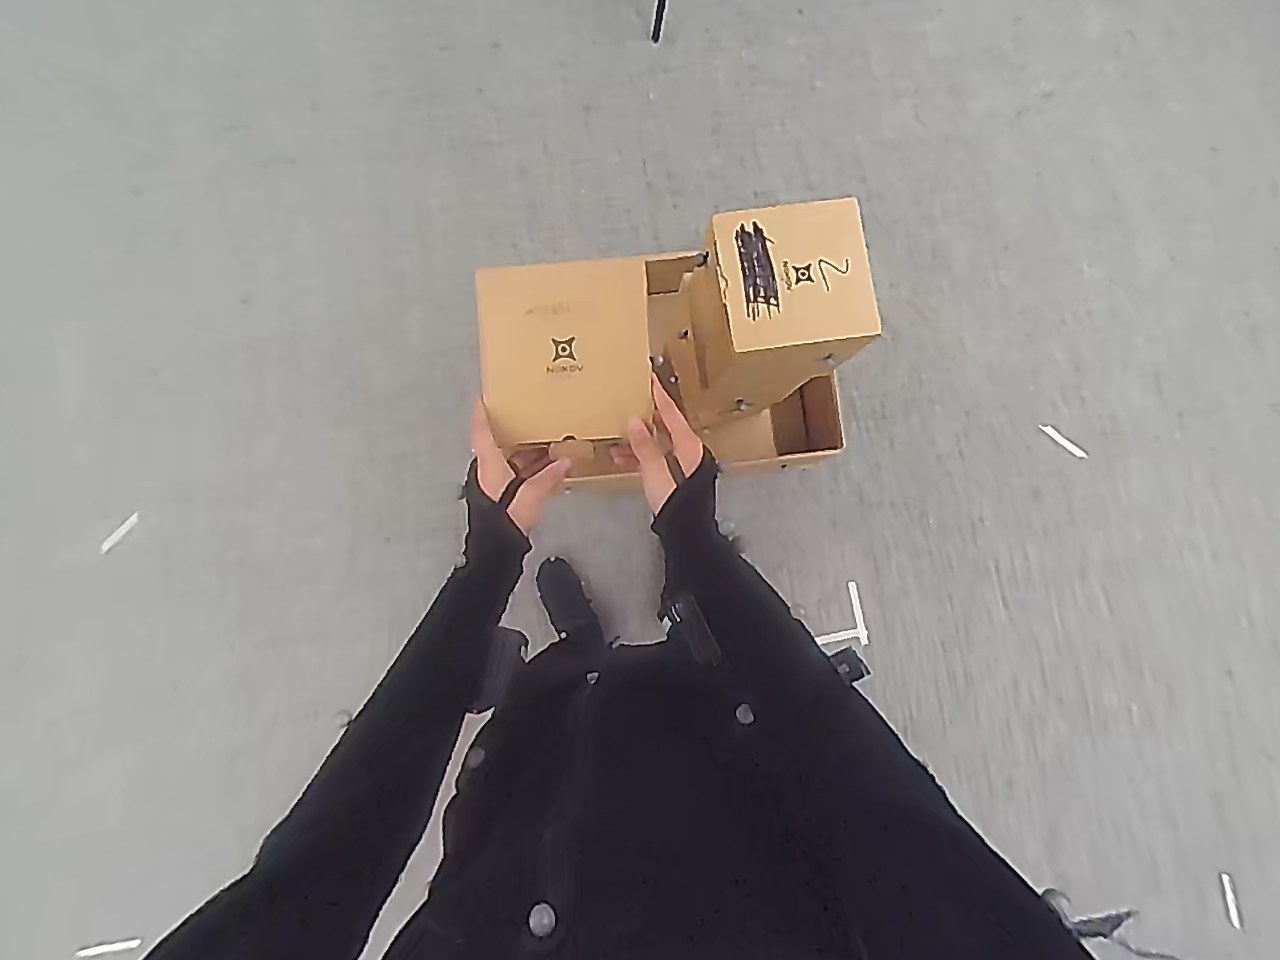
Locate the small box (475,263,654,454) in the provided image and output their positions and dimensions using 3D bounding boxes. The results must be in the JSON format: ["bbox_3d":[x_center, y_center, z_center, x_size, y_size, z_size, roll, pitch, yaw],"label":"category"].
[{"bbox_3d":[-0.070,-0.122,0.600,0.168,0.176,0.179,-3,93,2],"label":"small box"}]
